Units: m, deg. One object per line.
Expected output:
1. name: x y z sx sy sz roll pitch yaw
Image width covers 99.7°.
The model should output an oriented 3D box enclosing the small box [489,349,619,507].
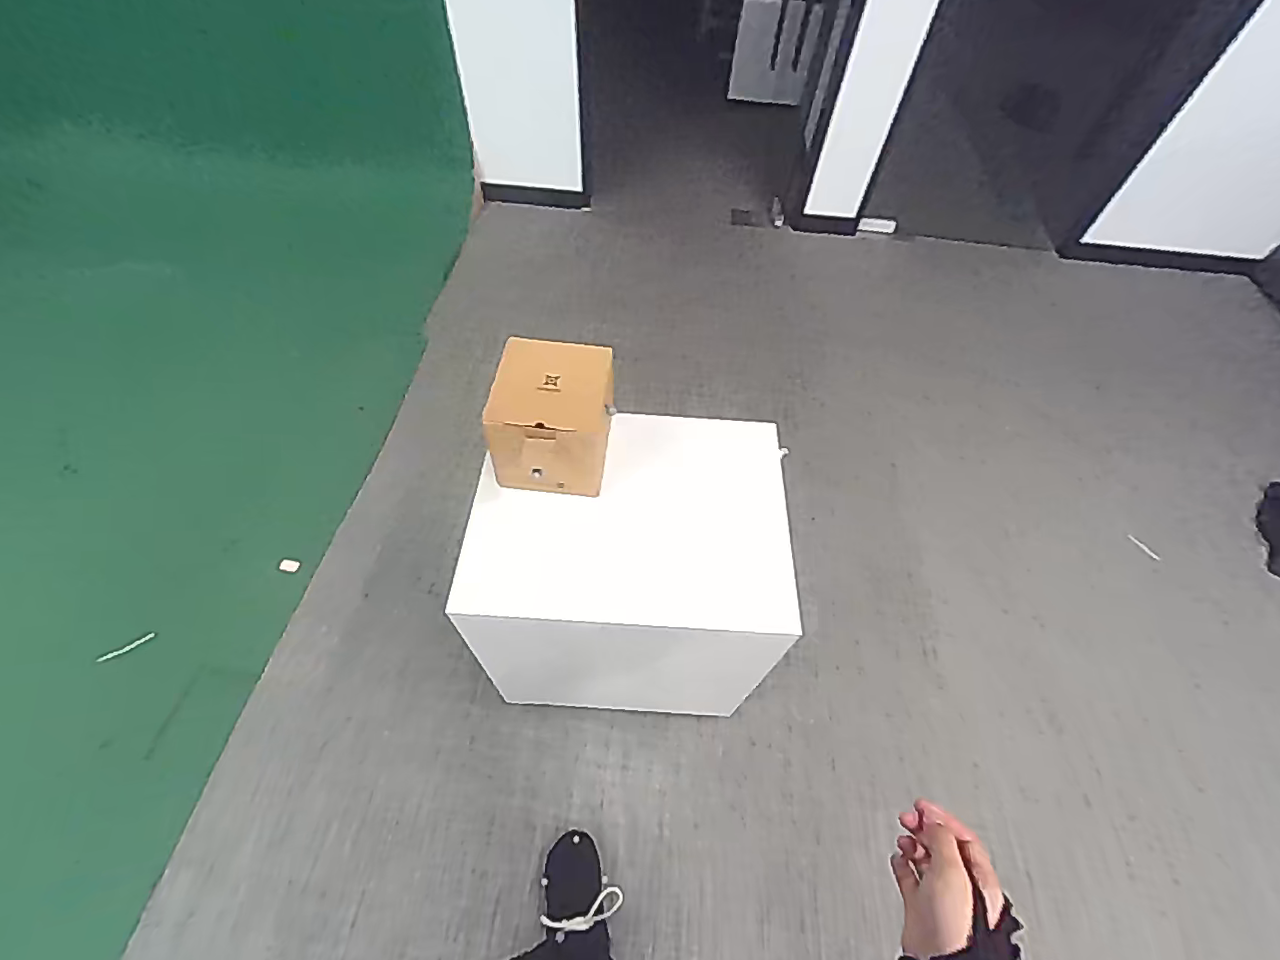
1. small box: -0.128 -0.080 0.865 0.168 0.176 0.179 6 55 1
